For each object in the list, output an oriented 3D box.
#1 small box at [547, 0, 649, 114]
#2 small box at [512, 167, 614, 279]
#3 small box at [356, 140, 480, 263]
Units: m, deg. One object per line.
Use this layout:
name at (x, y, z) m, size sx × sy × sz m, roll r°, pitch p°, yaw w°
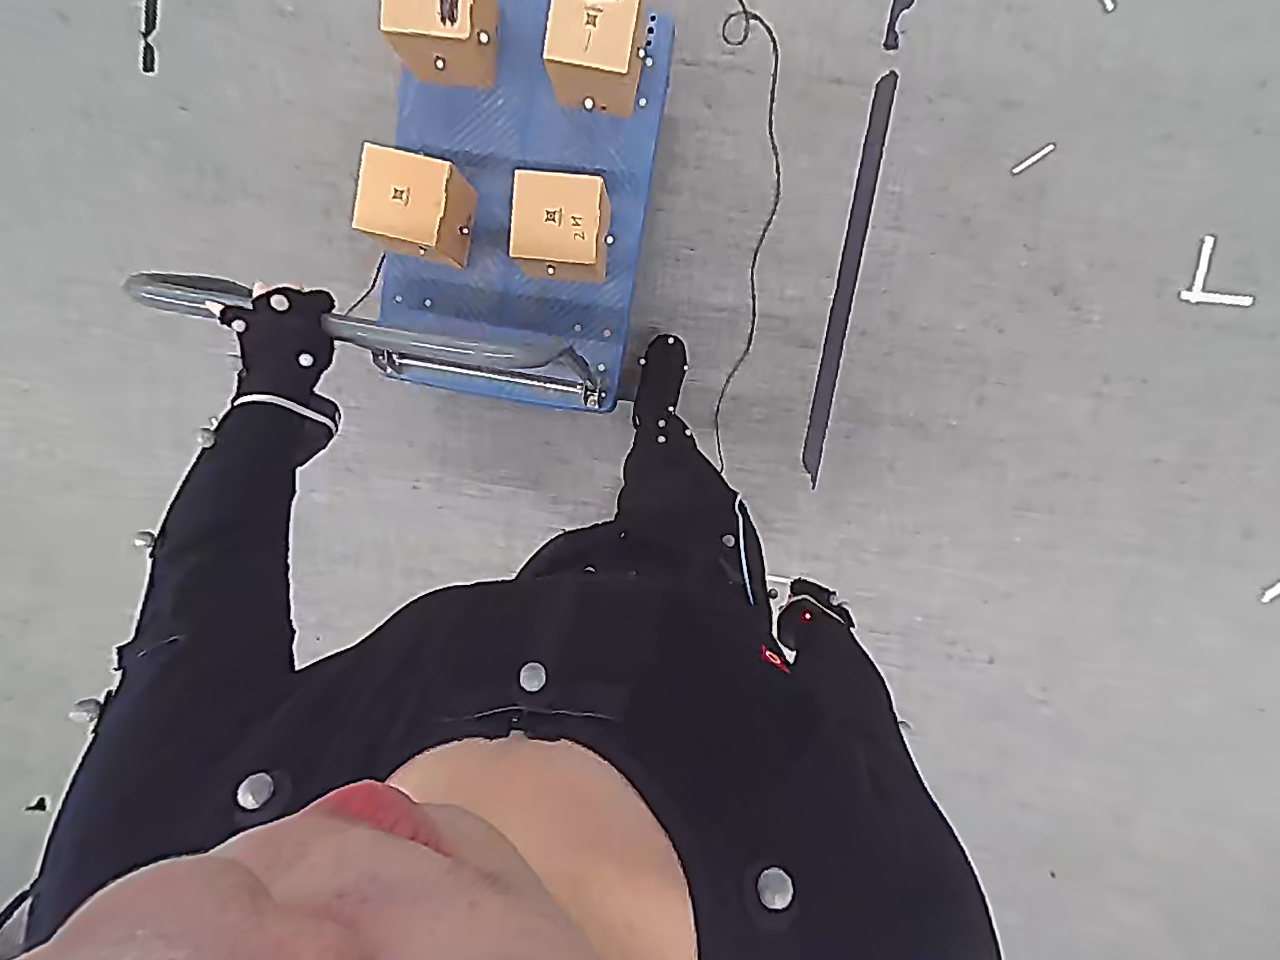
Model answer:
small box at (-0.077, -0.881, 1.081) m, size 0.168 × 0.176 × 0.179 m, roll 12°, pitch 100°, yaw 1°
small box at (-0.156, -0.530, 1.135) m, size 0.179 × 0.176 × 0.168 m, roll 6°, pitch 98°, yaw 2°
small box at (-0.461, -0.577, 1.143) m, size 0.179 × 0.176 × 0.168 m, roll 13°, pitch 98°, yaw -1°
